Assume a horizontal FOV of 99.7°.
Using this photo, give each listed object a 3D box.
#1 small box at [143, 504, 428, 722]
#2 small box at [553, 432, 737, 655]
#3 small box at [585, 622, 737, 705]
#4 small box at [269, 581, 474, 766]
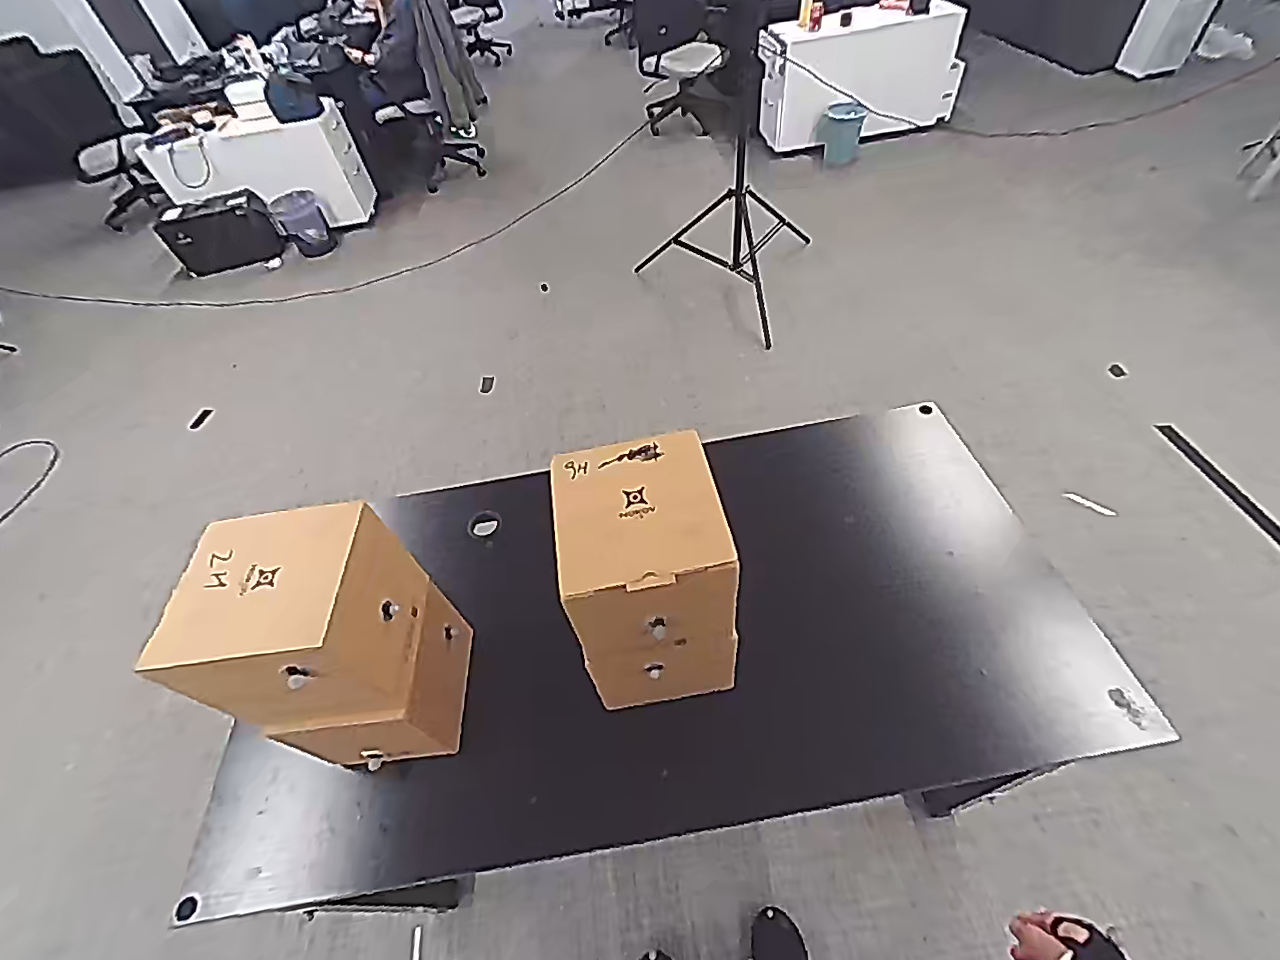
[{"bbox_3d":[-0.354,0.149,0.588,0.179,0.176,0.168,-8,50,2],"label":"small box"},{"bbox_3d":[0.007,0.078,0.596,0.168,0.176,0.179,-11,51,-1],"label":"small box"},{"bbox_3d":[0.024,0.183,0.720,0.179,0.176,0.168,-10,51,-1],"label":"small box"},{"bbox_3d":[-0.331,0.256,0.712,0.168,0.176,0.179,-8,52,2],"label":"small box"}]
